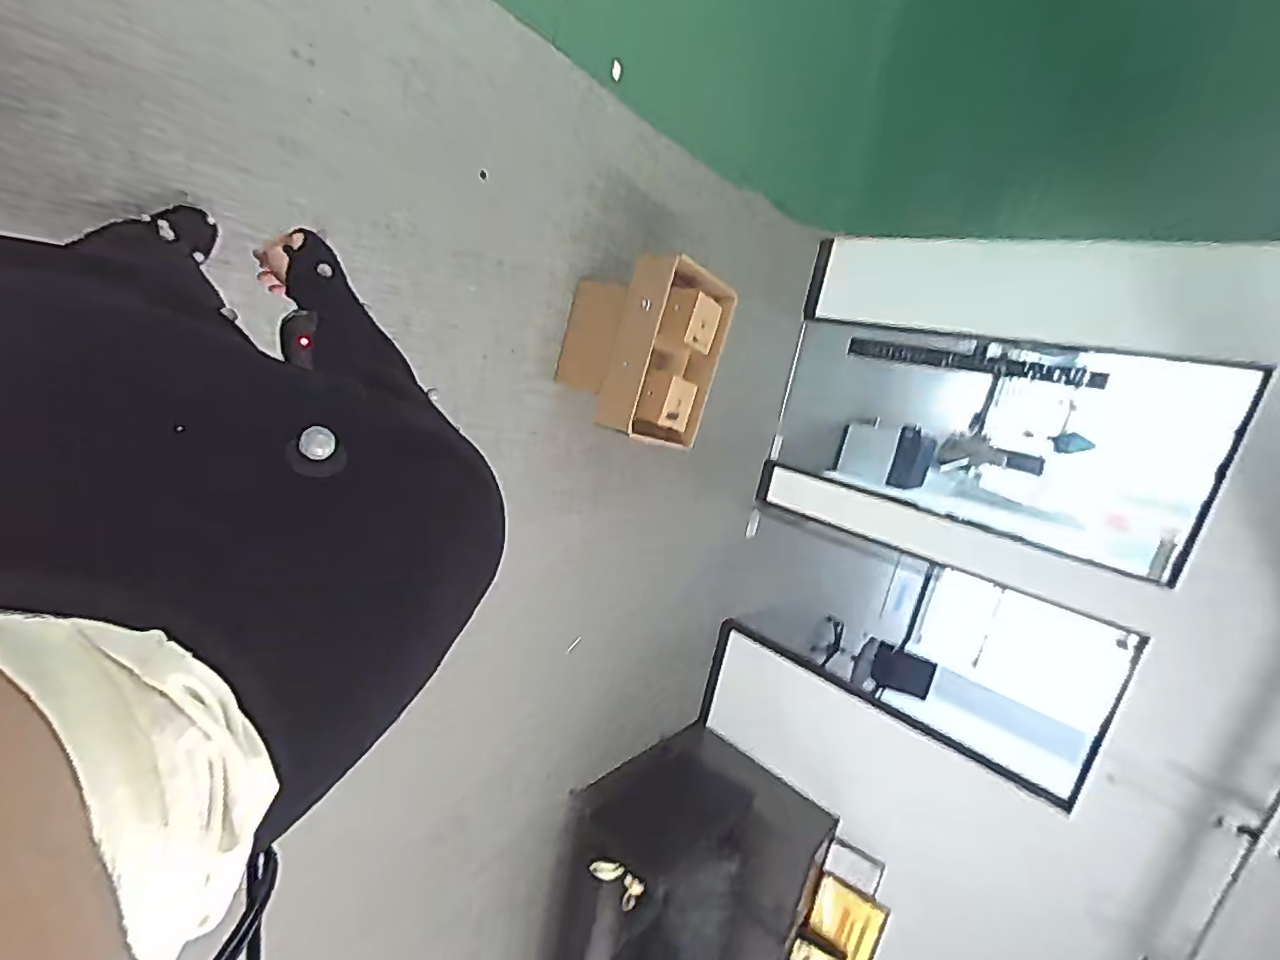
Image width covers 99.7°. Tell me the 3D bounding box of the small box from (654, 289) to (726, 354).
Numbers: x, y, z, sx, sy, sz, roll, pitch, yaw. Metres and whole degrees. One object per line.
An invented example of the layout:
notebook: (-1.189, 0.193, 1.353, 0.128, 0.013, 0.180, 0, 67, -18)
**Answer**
small box: (0.175, -0.564, 1.915, 0.168, 0.176, 0.179, 12, 96, -52)
